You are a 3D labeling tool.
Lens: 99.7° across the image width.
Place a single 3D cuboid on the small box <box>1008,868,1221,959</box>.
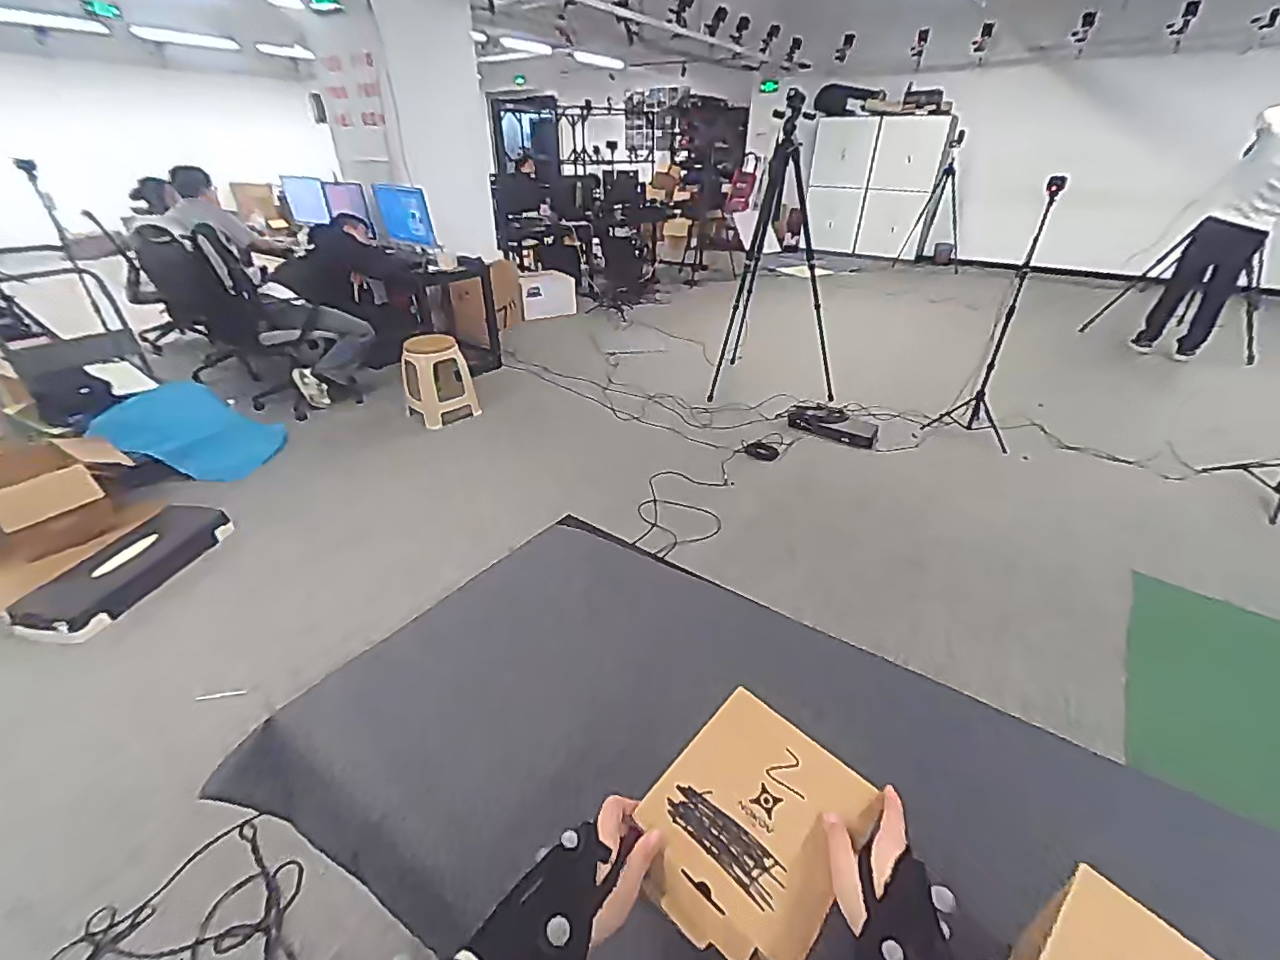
[{"bbox_3d":[0.375,0.459,0.406,0.168,0.176,0.179,-22,37,-33],"label":"small box"}]
